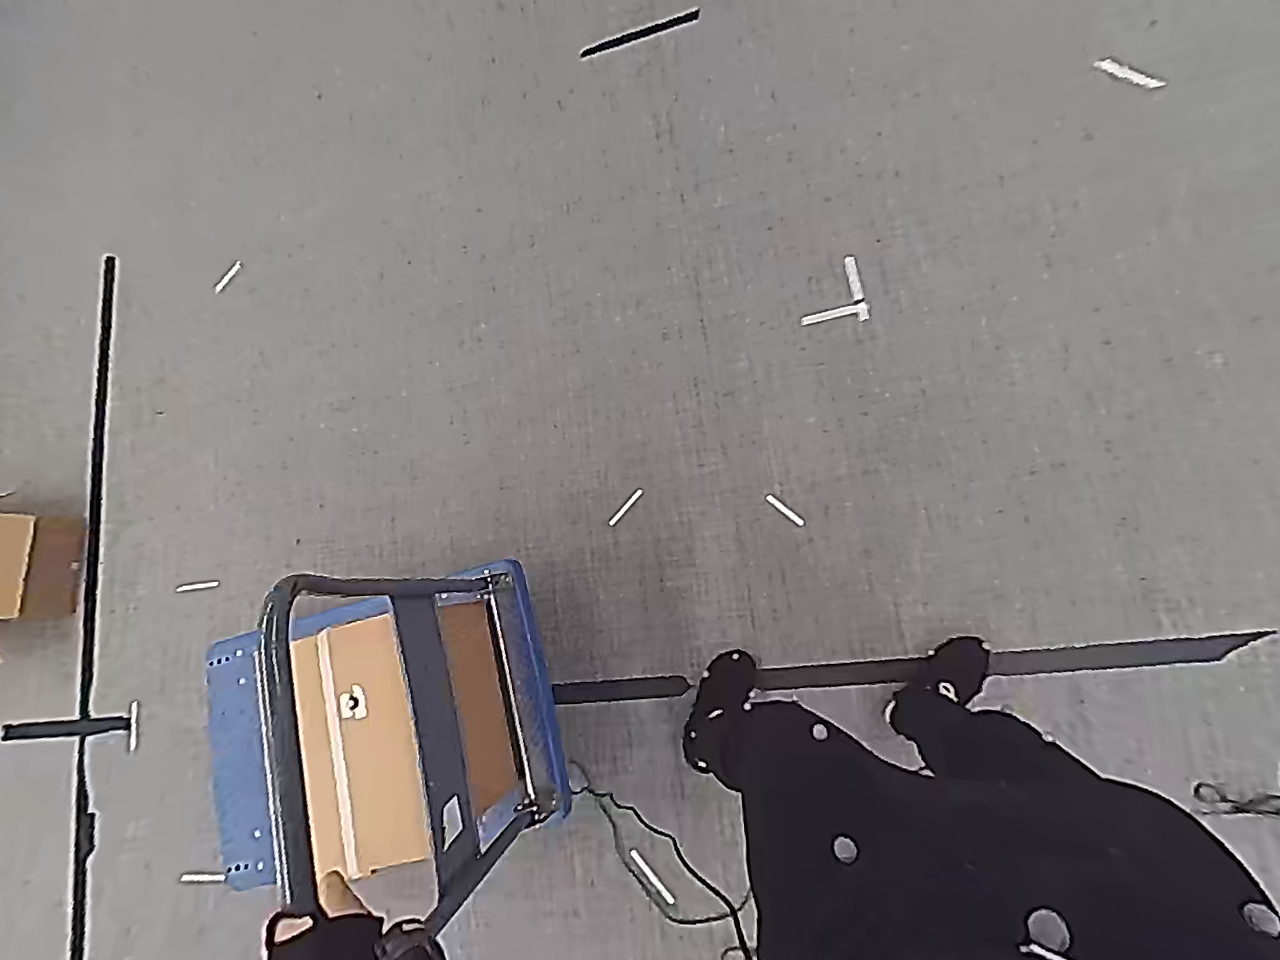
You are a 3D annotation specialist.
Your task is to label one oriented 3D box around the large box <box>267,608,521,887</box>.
[{"bbox_3d":[-0.479,0.500,1.095,0.320,0.320,0.408,-17,77,9],"label":"large box"}]
